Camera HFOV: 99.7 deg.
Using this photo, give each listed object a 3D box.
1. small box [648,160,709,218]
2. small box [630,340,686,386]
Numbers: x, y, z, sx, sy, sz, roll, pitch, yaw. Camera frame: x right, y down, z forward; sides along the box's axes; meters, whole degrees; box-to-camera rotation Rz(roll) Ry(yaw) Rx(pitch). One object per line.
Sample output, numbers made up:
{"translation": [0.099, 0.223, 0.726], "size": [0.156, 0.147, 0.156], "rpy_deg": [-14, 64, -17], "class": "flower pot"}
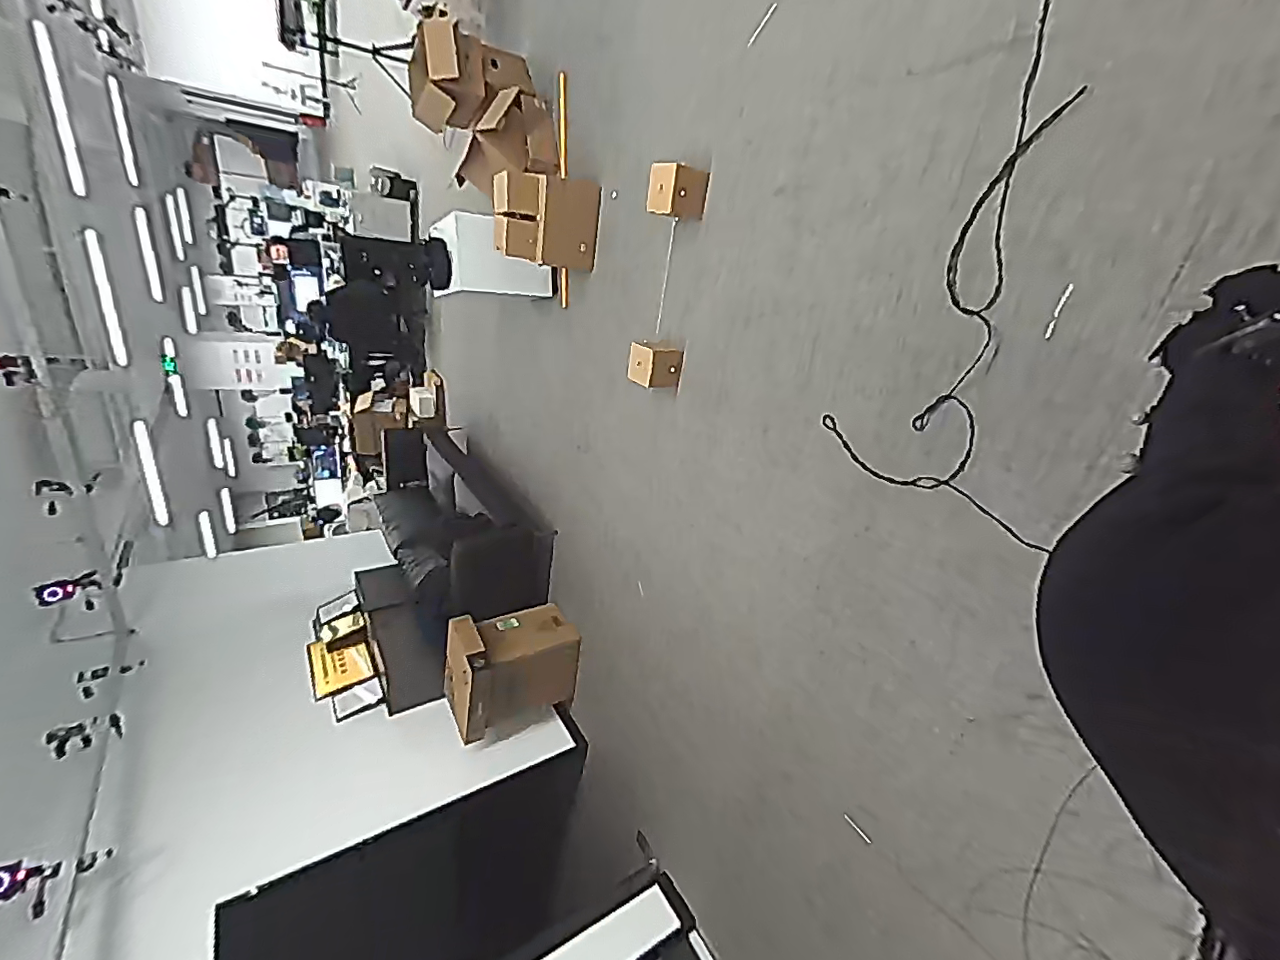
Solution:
{"translation": [0.154, -1.150, 2.139], "size": [0.168, 0.176, 0.179], "rpy_deg": [36, 127, 46], "class": "small box"}
{"translation": [0.080, -0.524, 2.409], "size": [0.179, 0.176, 0.168], "rpy_deg": [36, 127, 47], "class": "small box"}
